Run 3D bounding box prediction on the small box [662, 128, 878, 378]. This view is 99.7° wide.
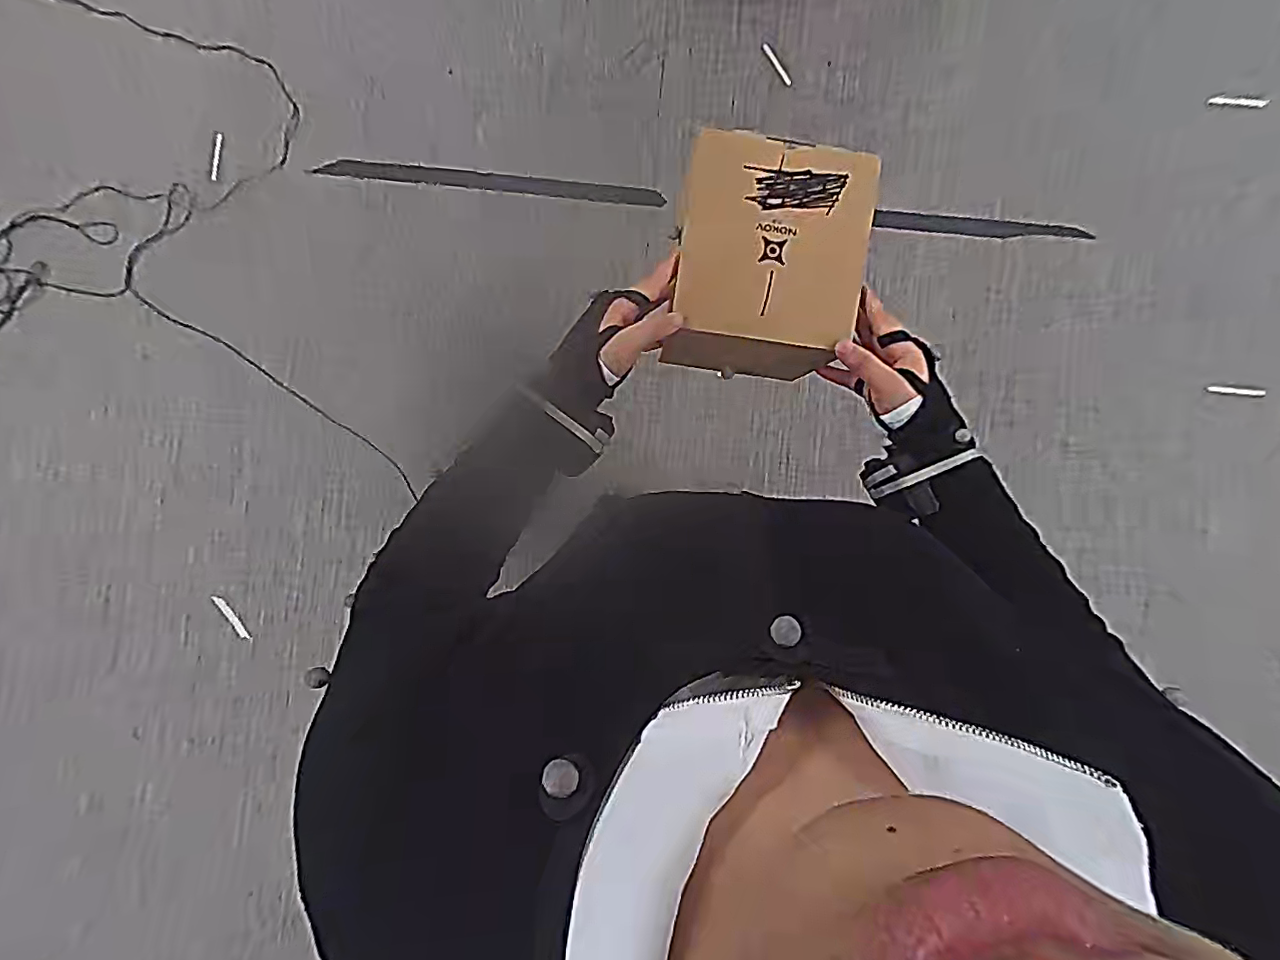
[{"bbox_3d":[0.118,-0.214,0.557,0.168,0.176,0.179,8,92,-2],"label":"small box"}]
